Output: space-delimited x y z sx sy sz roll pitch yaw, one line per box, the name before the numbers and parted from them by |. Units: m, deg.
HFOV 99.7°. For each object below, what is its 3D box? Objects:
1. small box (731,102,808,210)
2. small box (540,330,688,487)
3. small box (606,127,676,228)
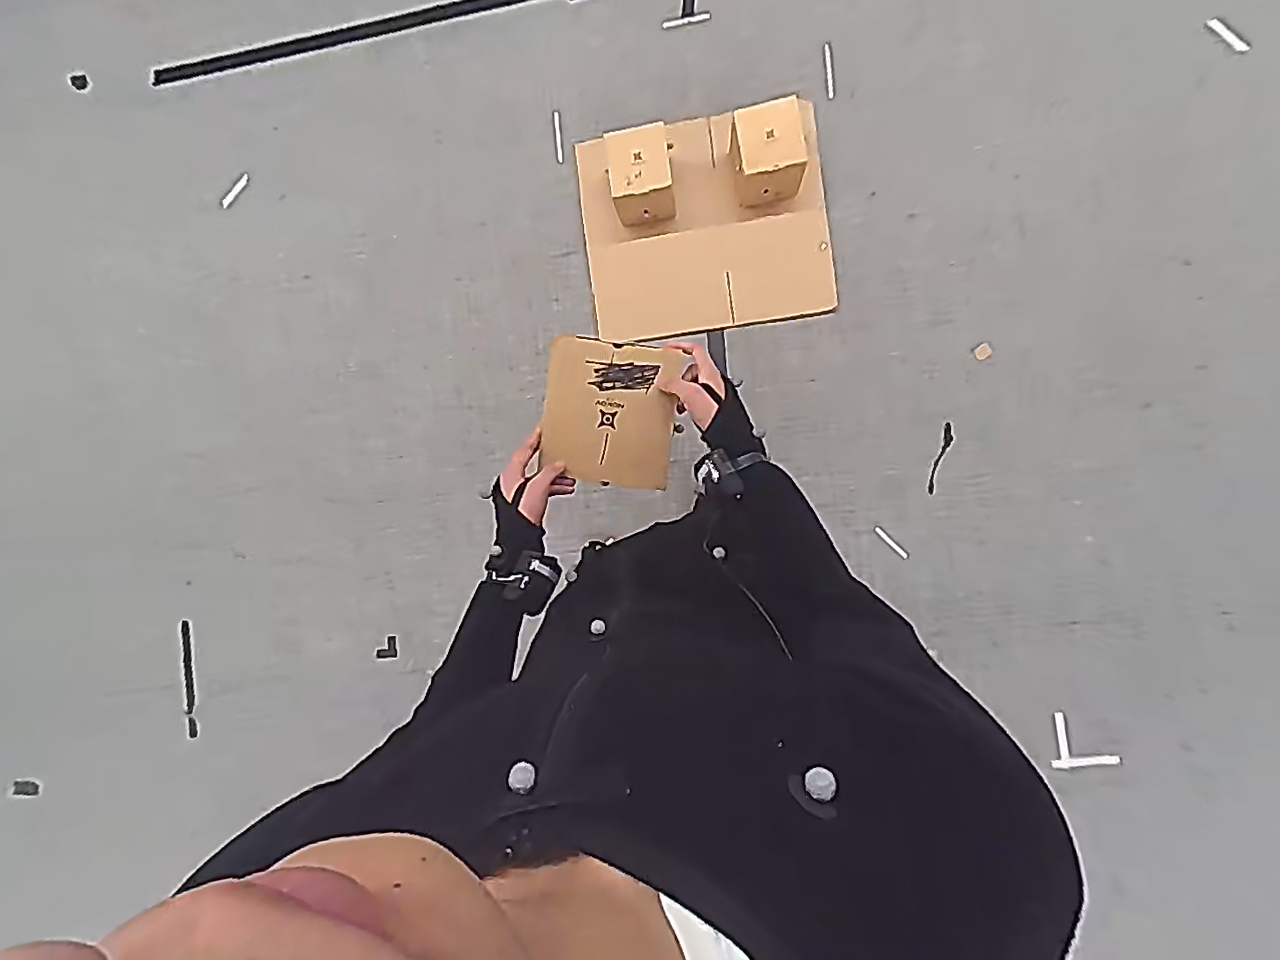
small box | 0.347 -0.878 1.478 0.168 0.176 0.179 -11 90 7
small box | -0.031 -0.095 0.746 0.168 0.176 0.179 8 96 2
small box | 0.007 -0.839 1.513 0.168 0.176 0.179 -7 90 8
